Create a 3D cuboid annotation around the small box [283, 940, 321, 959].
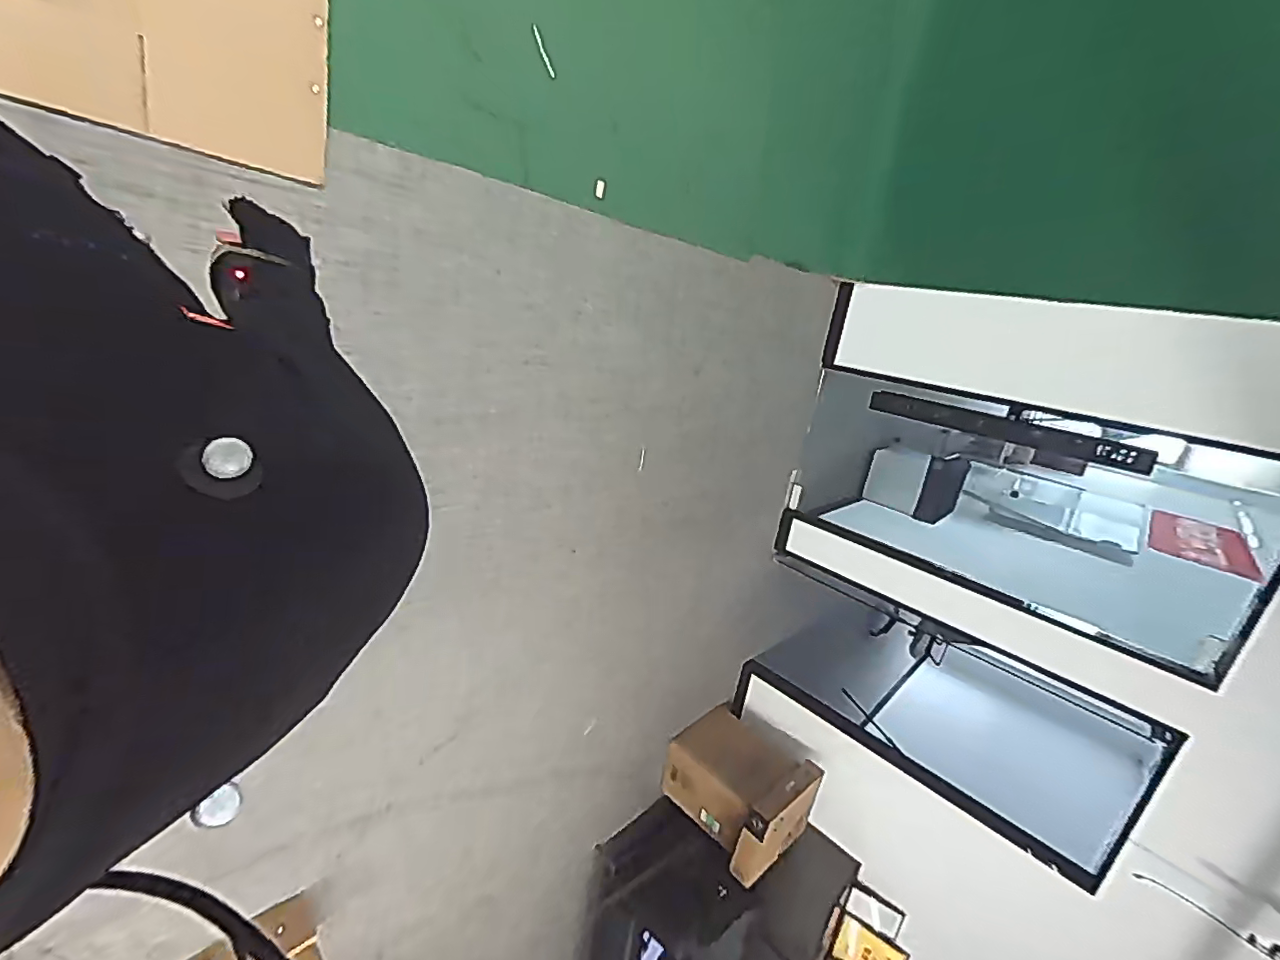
[{"bbox_3d":[-1.040,1.553,1.613,0.179,0.176,0.168,-14,120,-46],"label":"small box"}]
